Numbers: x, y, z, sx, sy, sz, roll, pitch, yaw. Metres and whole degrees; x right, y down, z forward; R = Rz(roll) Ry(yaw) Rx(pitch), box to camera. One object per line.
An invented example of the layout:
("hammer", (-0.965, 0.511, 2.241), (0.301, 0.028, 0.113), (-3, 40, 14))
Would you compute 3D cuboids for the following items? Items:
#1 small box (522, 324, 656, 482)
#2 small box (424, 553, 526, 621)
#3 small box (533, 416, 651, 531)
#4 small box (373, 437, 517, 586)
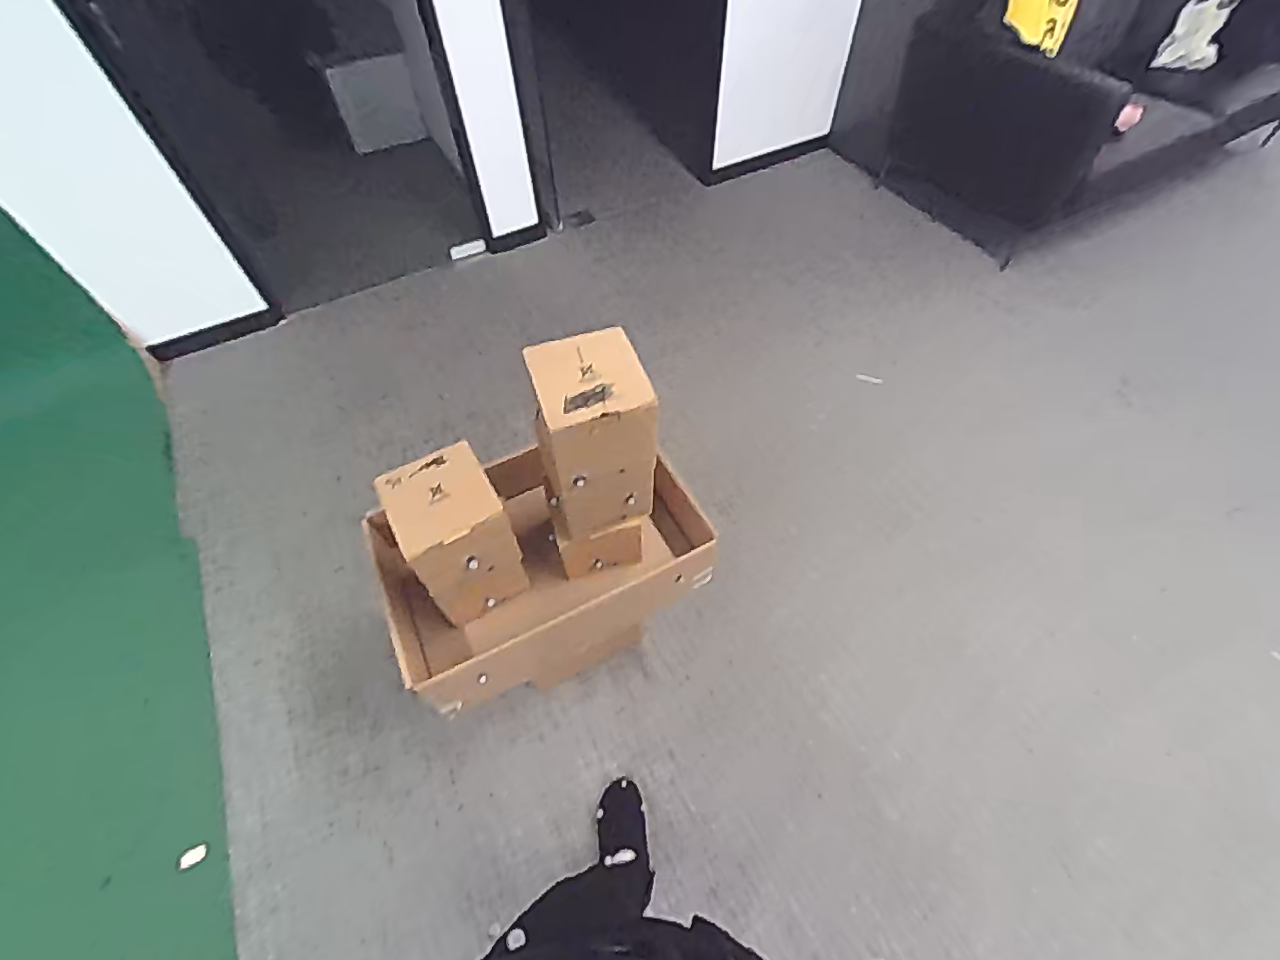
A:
("small box", (-0.079, -0.115, 0.868), (0.168, 0.176, 0.179), (-15, 57, -11))
("small box", (-0.345, 0.149, 1.080), (0.168, 0.176, 0.179), (-27, 60, -17))
("small box", (-0.086, -0.024, 1.004), (0.168, 0.176, 0.179), (-18, 58, -13))
("small box", (-0.330, 0.064, 0.939), (0.168, 0.176, 0.179), (-26, 60, -17))
